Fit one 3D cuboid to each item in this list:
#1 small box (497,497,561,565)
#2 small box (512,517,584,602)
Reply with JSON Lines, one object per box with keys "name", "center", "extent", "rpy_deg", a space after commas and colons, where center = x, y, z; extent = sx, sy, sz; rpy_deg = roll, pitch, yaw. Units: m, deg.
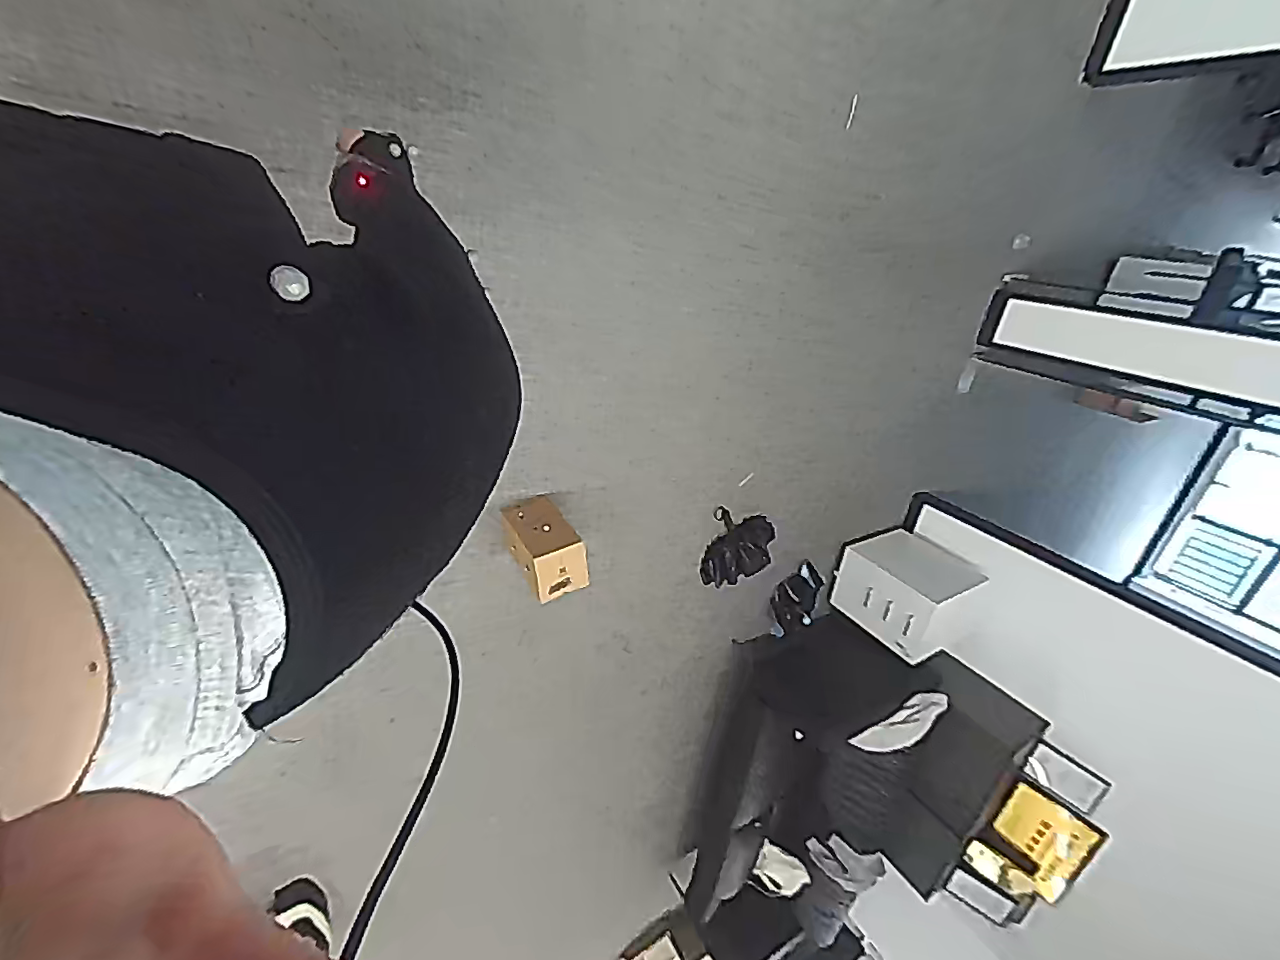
{"name": "small box", "center": [-0.370, 0.177, 1.826], "extent": [0.168, 0.176, 0.179], "rpy_deg": [-19, 126, -25]}
{"name": "small box", "center": [-0.289, 0.245, 1.700], "extent": [0.168, 0.176, 0.179], "rpy_deg": [-18, 123, -26]}
